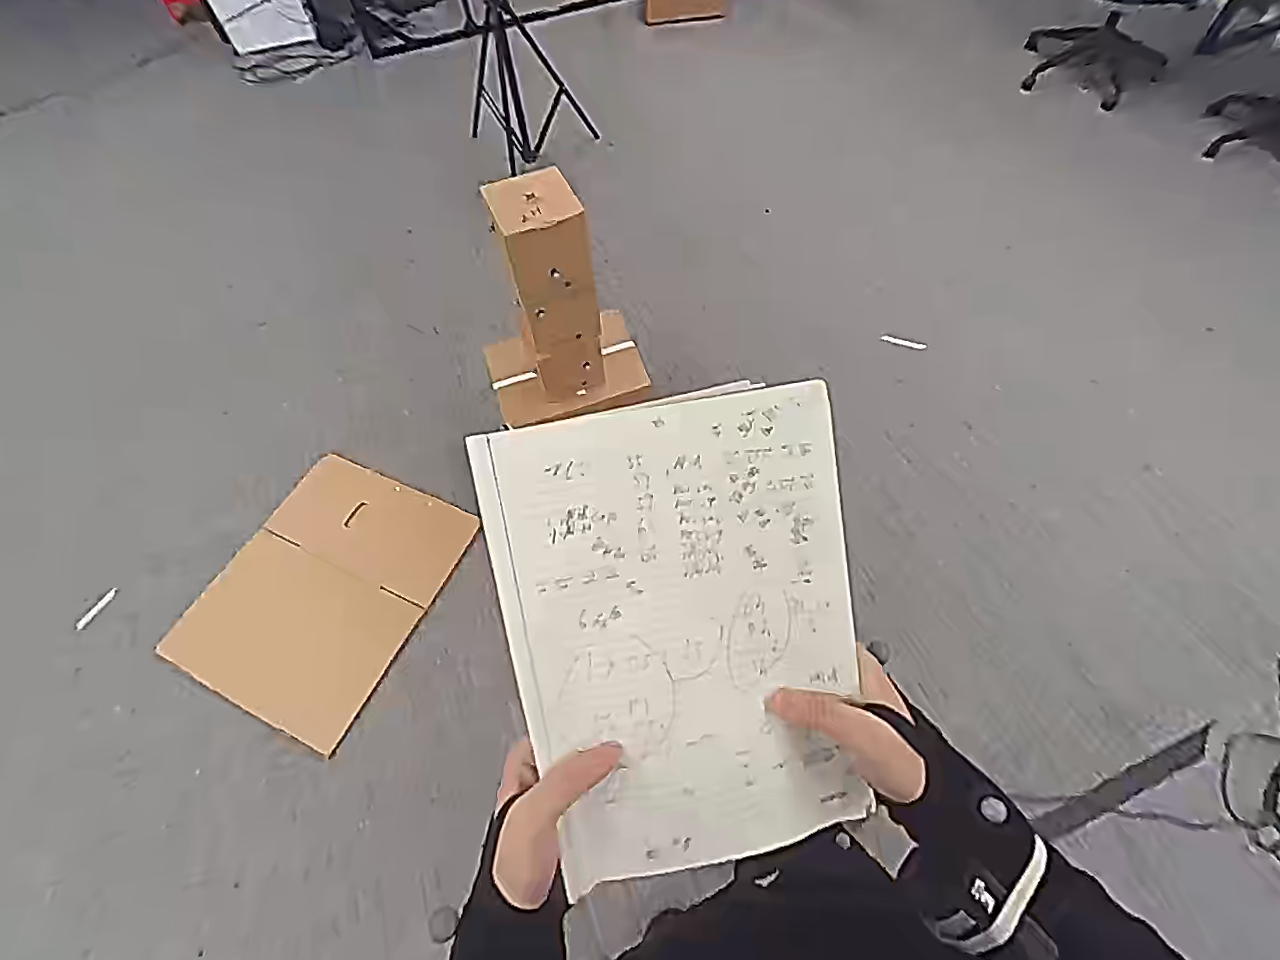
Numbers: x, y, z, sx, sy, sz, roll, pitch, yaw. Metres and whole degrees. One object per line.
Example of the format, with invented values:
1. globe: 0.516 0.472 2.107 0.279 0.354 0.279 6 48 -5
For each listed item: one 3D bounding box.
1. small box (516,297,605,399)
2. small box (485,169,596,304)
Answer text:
1. small box: -0.199 -0.333 1.403 0.168 0.176 0.179 -23 62 -12
2. small box: -0.201 -0.500 1.119 0.168 0.176 0.179 -22 62 -10
